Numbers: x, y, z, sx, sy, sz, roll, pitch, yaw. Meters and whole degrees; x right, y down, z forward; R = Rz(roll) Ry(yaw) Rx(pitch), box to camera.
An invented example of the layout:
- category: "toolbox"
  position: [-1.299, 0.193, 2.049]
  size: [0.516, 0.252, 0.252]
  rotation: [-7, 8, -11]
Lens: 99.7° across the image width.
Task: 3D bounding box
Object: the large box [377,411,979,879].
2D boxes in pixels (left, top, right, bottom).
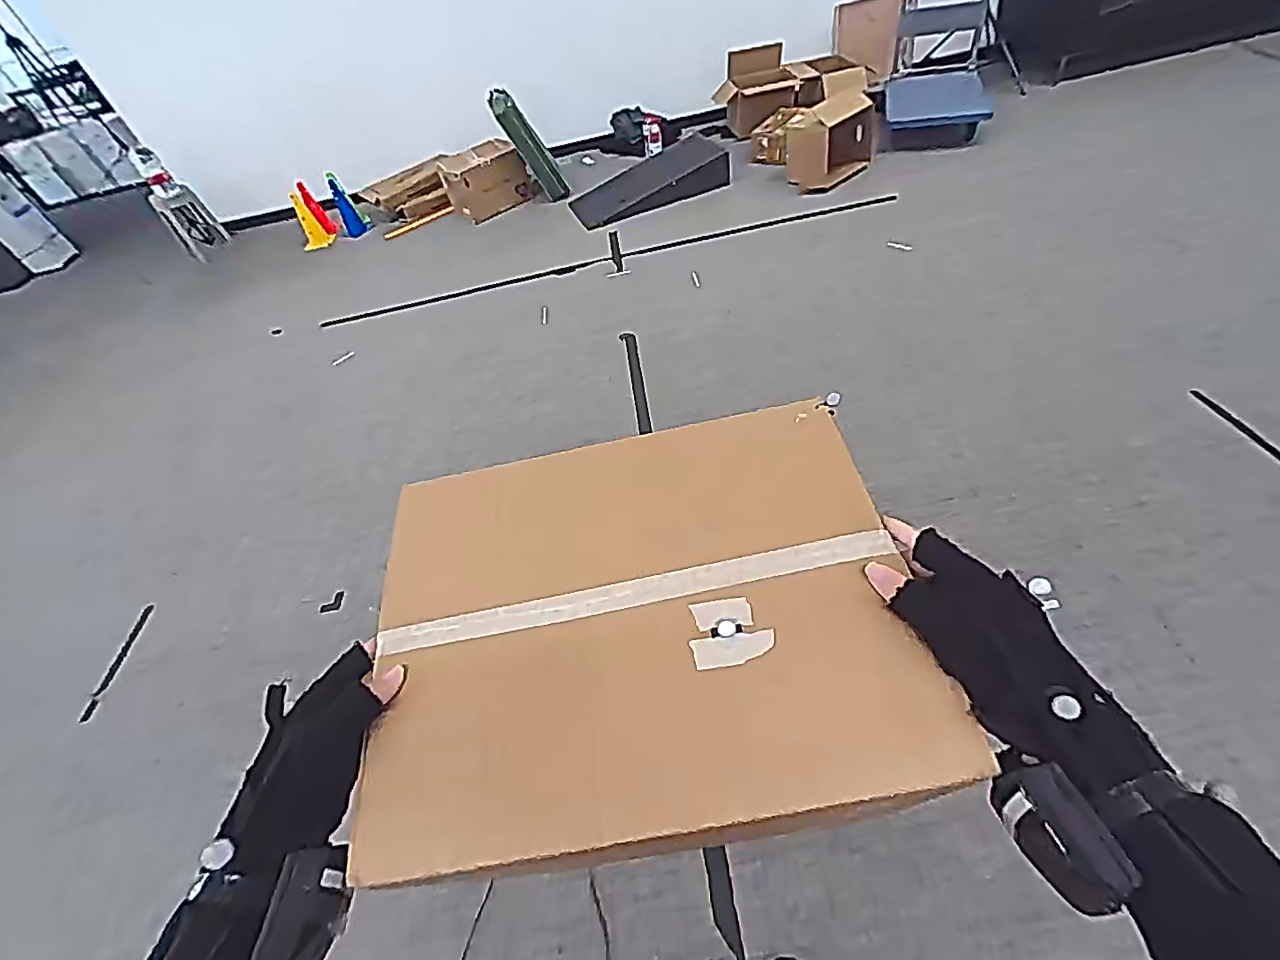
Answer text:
- category: "large box"
  position: [0.020, 0.181, 0.550]
  size: [0.408, 0.320, 0.320]
  rotation: [-12, 54, 2]
